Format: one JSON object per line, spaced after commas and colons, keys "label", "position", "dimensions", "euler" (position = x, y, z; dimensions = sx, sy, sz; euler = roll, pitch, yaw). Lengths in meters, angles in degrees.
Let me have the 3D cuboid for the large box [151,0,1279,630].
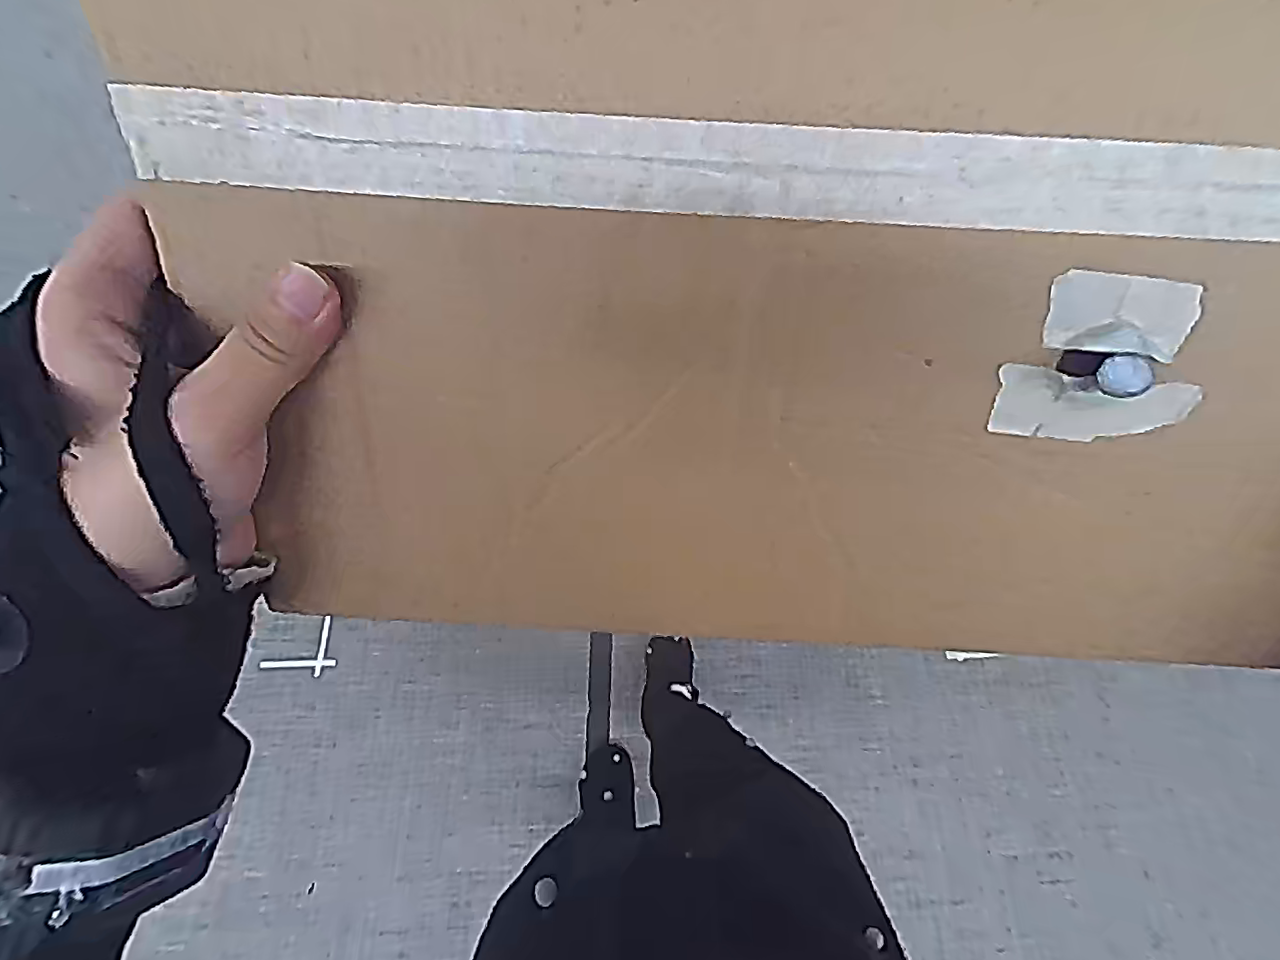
{"label": "large box", "position": [0.069, -0.143, 0.291], "dimensions": [0.408, 0.320, 0.320], "euler": [2, 25, -1]}
